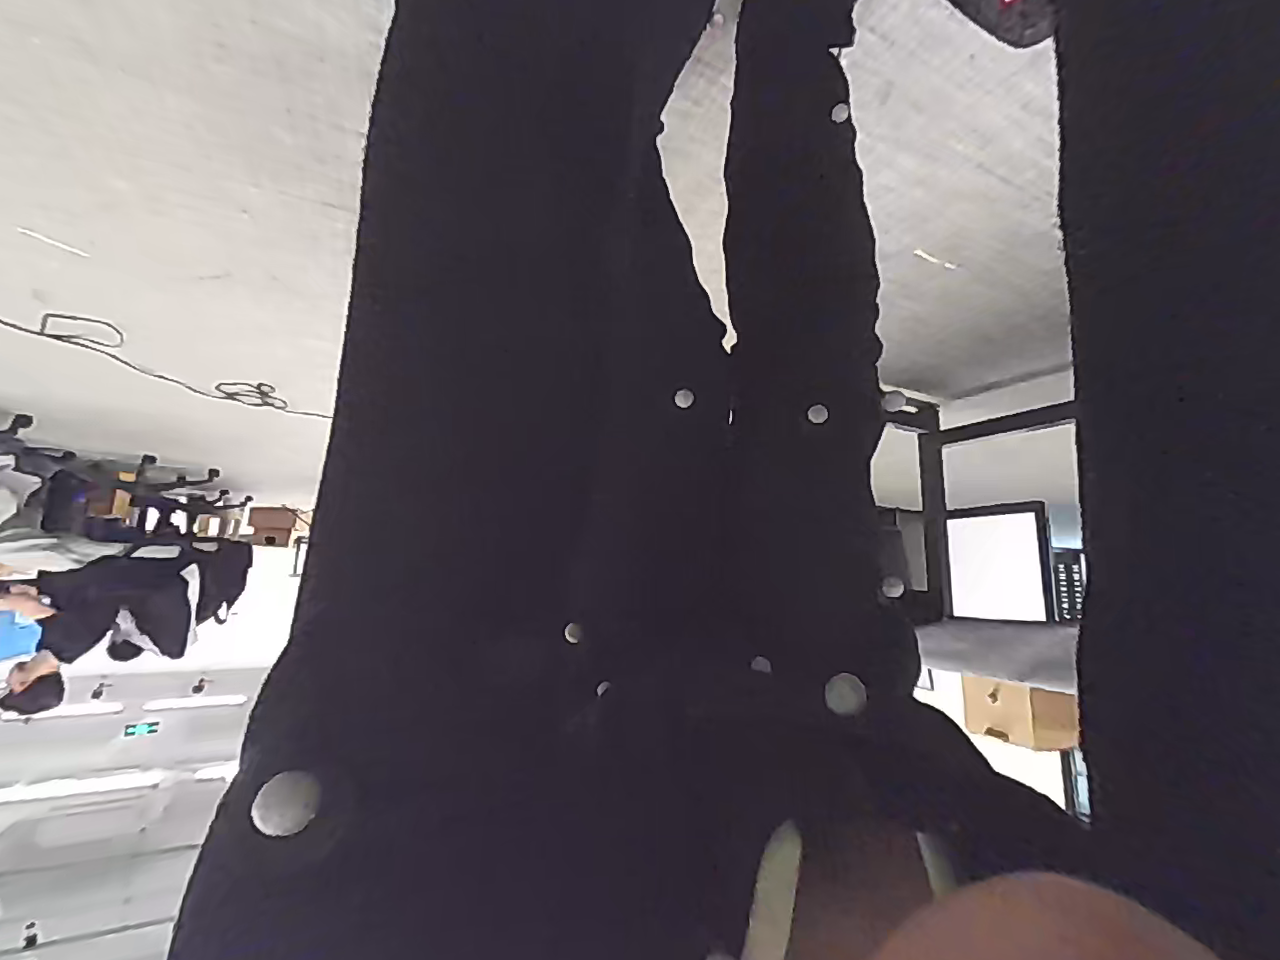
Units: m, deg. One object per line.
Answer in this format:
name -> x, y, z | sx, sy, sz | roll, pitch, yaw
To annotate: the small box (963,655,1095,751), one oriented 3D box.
small box -> 0.847, 0.481, 1.191 | 0.179, 0.176, 0.168 | 5, 169, -18
